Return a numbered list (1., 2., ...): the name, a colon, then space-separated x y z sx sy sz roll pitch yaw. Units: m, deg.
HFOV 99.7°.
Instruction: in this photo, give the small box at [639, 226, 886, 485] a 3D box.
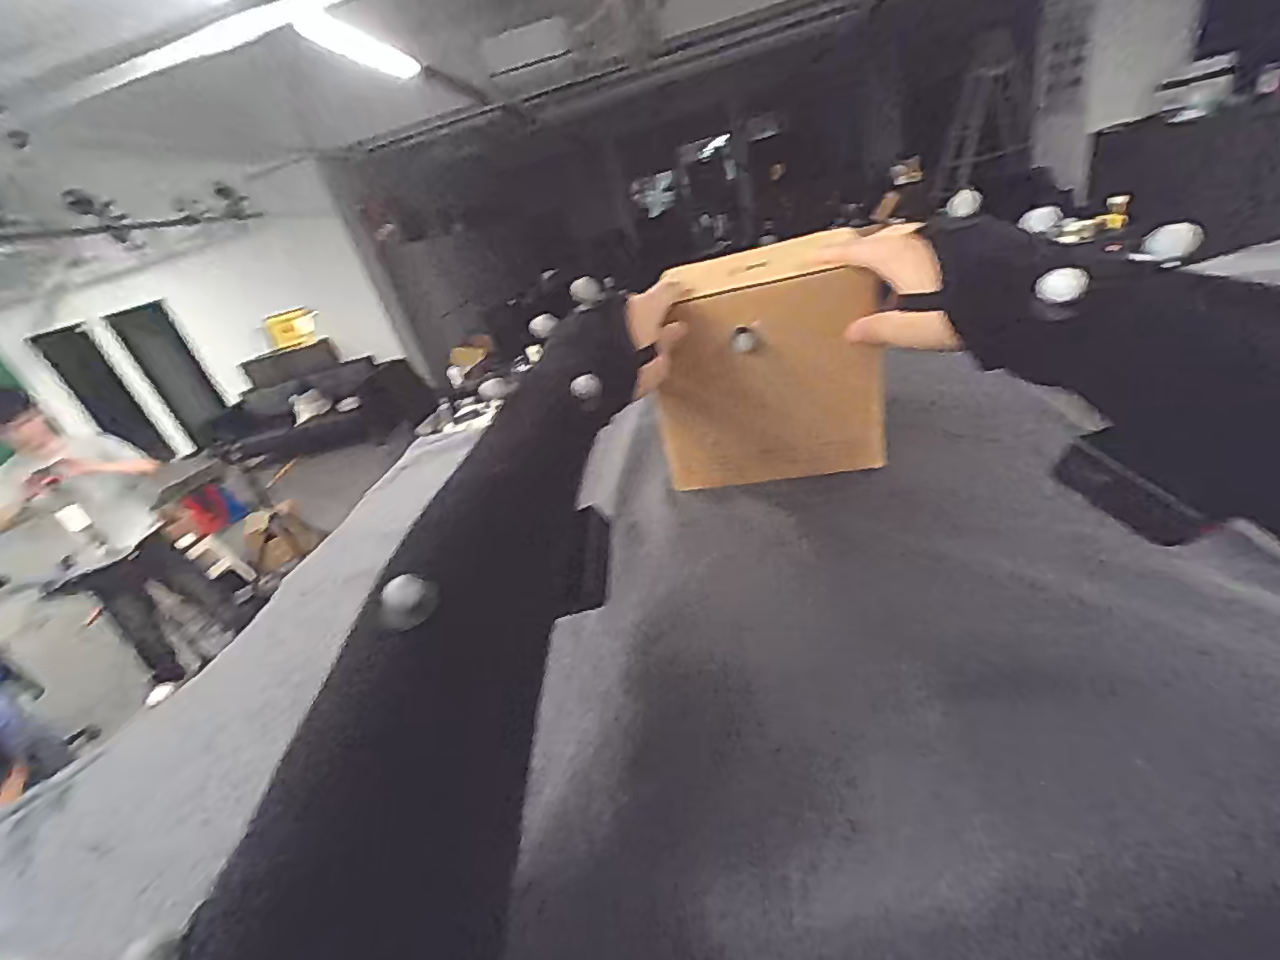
1. small box: 0.117 -0.111 0.489 0.179 0.176 0.168 -7 29 18
